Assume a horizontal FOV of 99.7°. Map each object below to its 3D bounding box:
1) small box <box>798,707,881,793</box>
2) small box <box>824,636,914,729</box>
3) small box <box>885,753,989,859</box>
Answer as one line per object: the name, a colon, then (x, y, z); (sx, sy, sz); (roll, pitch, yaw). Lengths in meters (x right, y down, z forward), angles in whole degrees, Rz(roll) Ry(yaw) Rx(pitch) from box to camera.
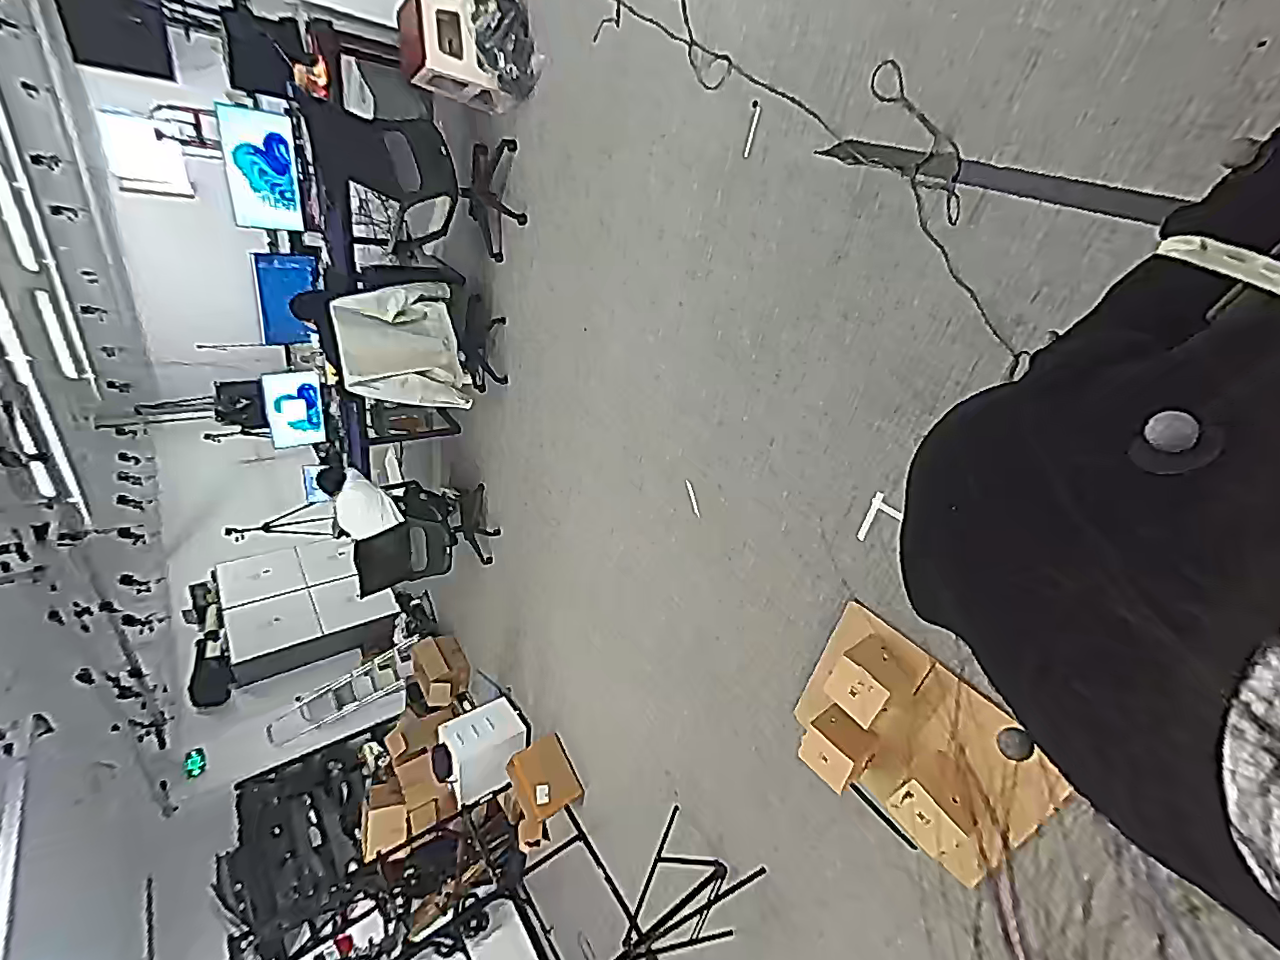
small box: (0.667, 0.891, 1.810); (0.179, 0.176, 0.168); (36, 128, 42)
small box: (0.709, 0.619, 1.668); (0.168, 0.176, 0.179); (40, 129, 38)
small box: (0.861, 0.937, 1.565); (0.179, 0.176, 0.168); (47, 134, 32)
